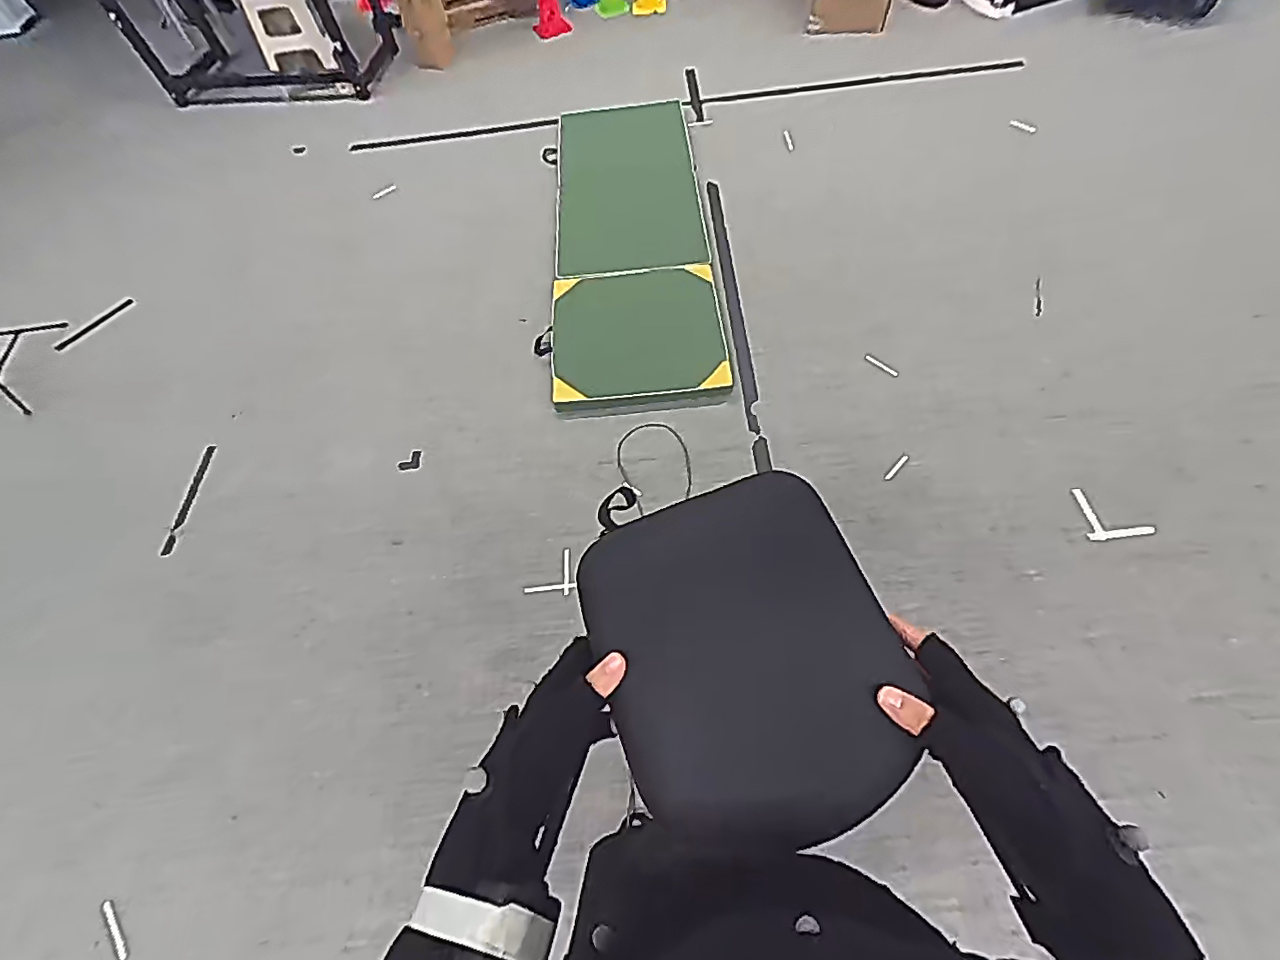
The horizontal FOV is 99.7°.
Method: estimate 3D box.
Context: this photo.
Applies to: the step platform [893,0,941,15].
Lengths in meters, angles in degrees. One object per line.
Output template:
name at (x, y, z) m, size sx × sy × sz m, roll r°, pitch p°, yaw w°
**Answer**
step platform at (1.777, -2.862, 3.026) m, size 0.684 × 0.204 × 0.286 m, roll -32°, pitch 63°, yaw -12°
